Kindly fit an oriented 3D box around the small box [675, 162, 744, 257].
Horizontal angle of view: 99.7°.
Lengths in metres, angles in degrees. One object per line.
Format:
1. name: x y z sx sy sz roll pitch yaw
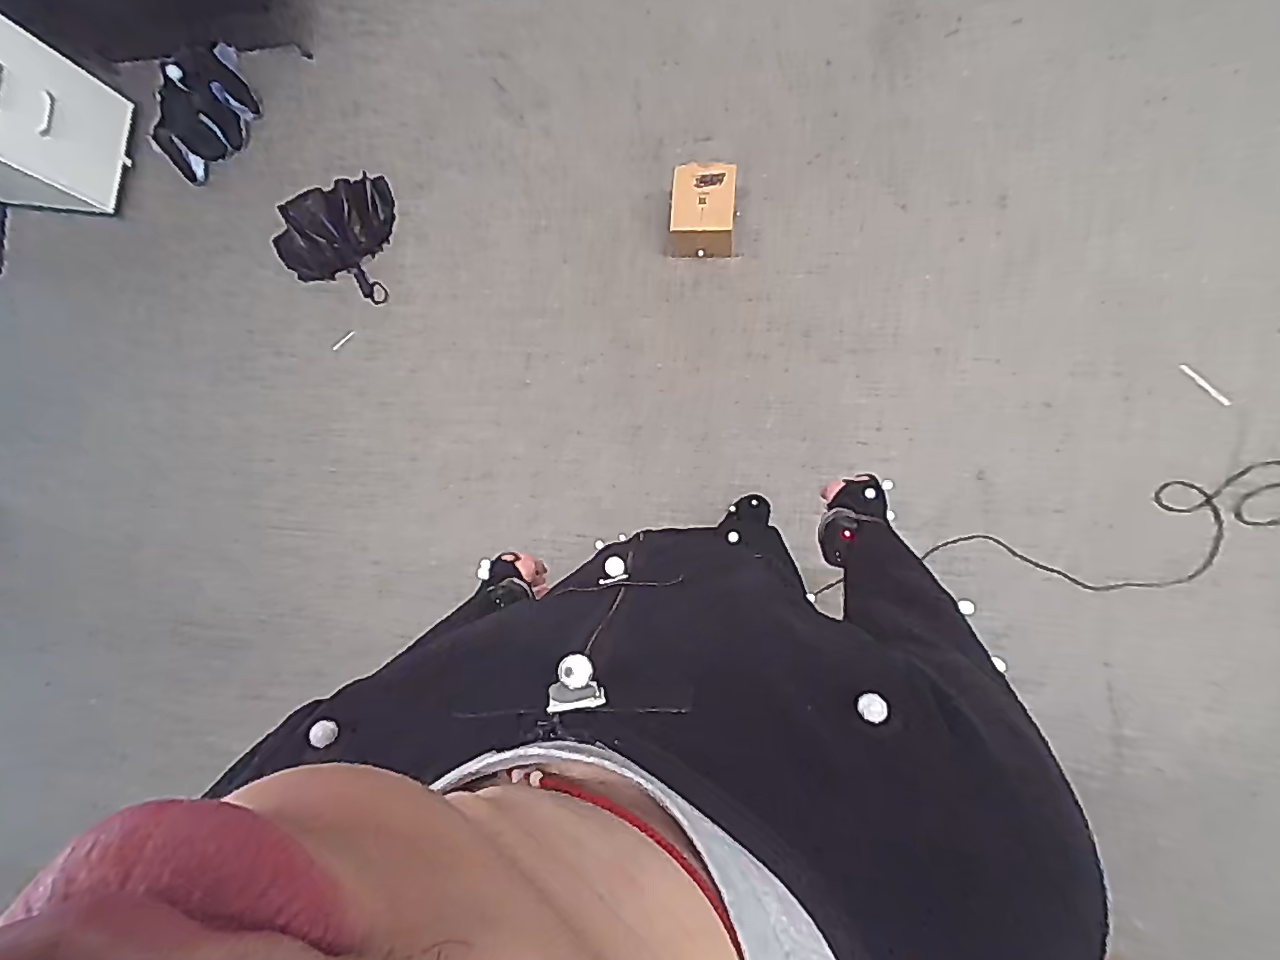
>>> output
1. small box: 0.194 -0.739 1.486 0.168 0.176 0.179 5 89 11
